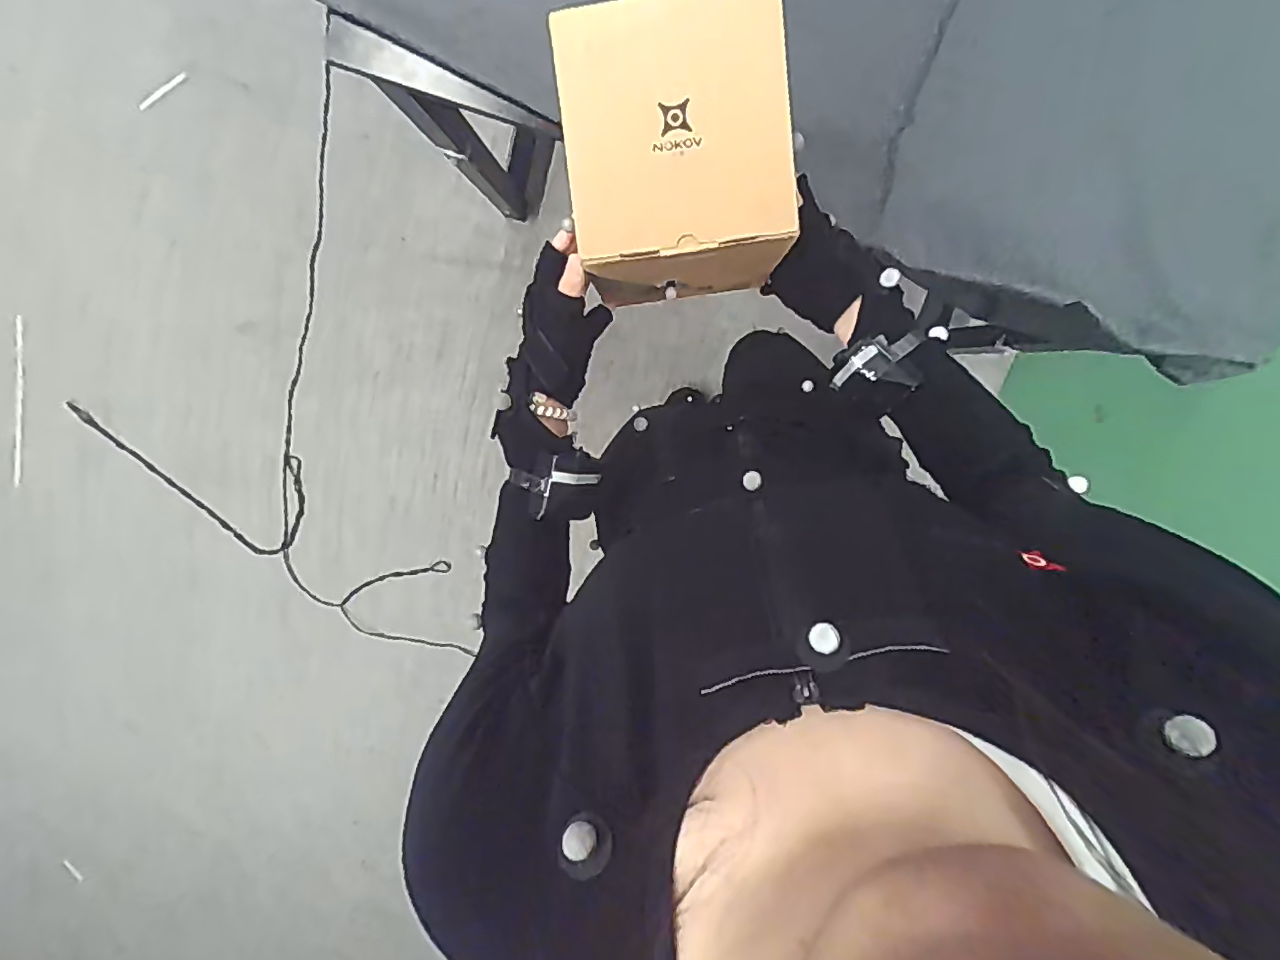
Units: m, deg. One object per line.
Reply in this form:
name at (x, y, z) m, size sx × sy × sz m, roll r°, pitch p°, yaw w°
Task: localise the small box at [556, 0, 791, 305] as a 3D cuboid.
small box at (0.030, -0.269, 0.487) m, size 0.168 × 0.176 × 0.179 m, roll -6°, pitch 98°, yaw 4°
